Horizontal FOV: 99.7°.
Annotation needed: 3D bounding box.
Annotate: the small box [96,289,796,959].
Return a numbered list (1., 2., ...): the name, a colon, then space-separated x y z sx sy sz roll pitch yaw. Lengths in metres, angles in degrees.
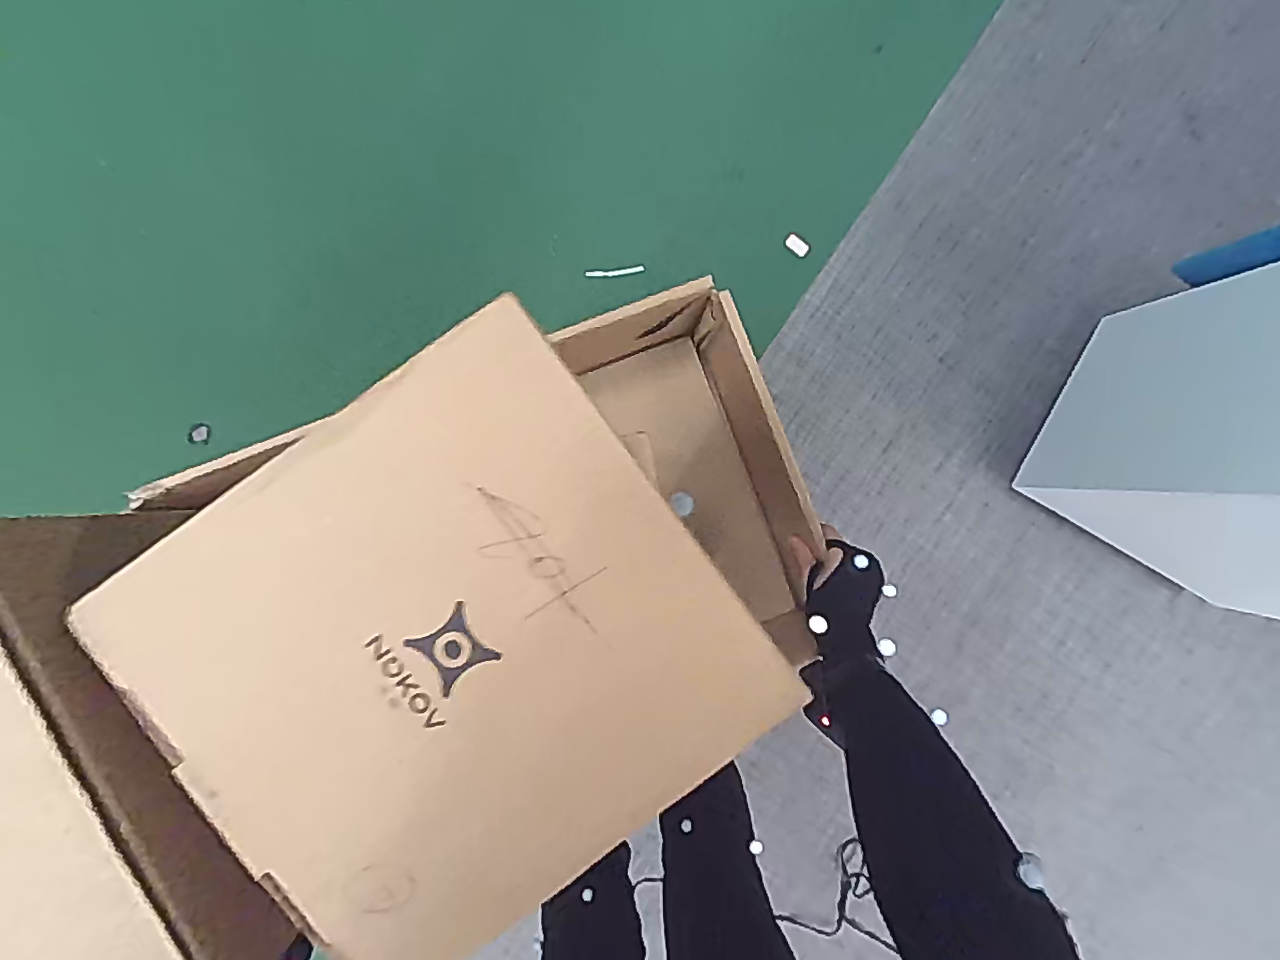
1. small box: -0.063 0.053 0.256 0.179 0.176 0.168 -36 90 -2
